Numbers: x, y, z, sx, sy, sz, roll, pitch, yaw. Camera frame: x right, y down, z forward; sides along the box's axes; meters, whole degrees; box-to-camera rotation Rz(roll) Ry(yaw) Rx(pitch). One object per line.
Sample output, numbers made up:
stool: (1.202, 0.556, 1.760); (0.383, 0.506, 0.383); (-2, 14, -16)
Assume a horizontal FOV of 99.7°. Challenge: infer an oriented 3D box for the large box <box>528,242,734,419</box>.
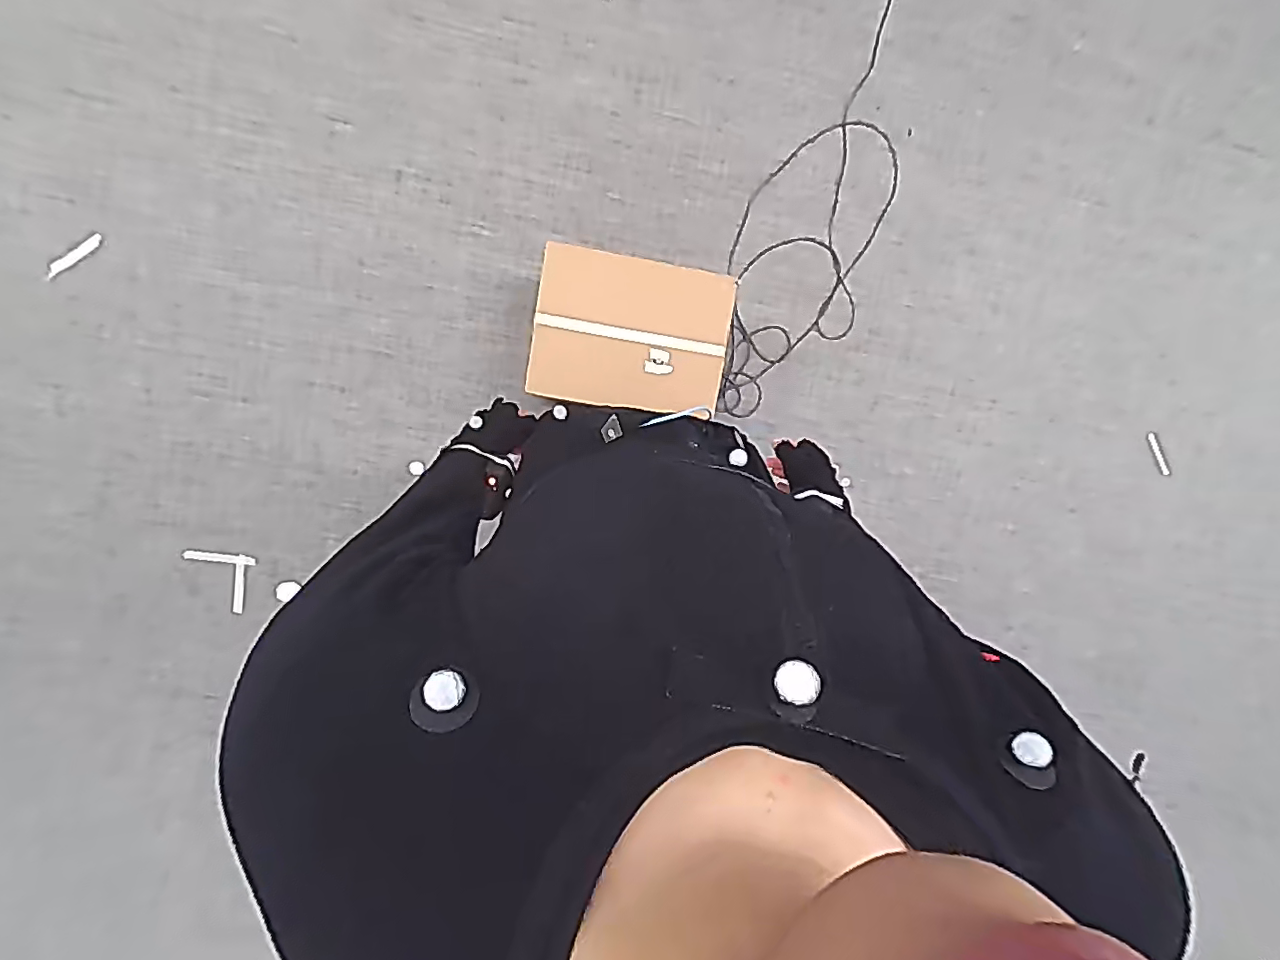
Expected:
large box: (-0.032, -0.327, 1.286); (0.408, 0.320, 0.320); (9, 97, -5)
